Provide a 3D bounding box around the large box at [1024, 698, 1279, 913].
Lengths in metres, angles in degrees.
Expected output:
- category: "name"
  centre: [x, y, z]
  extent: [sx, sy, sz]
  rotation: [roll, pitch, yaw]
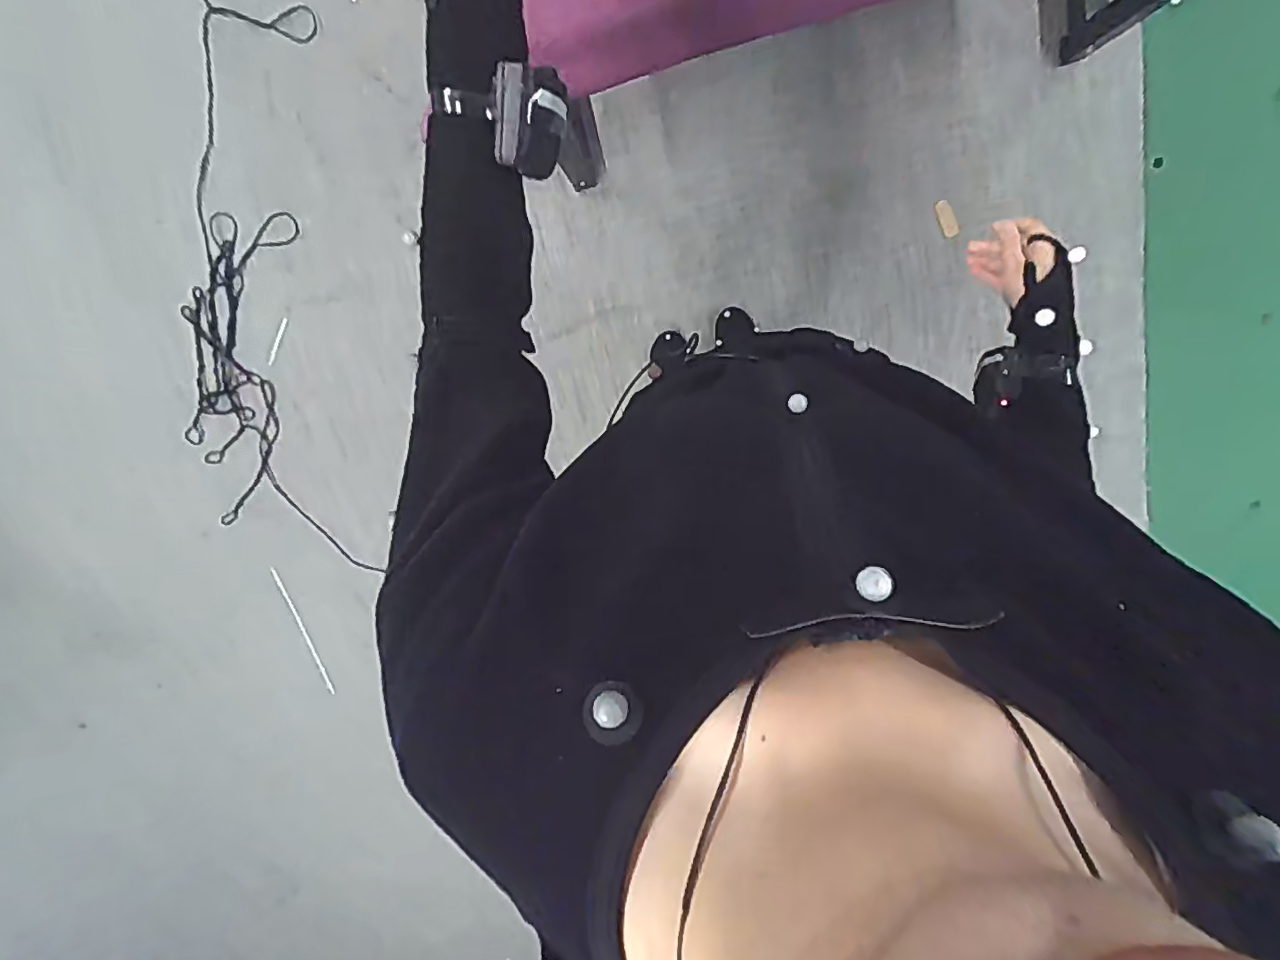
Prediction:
- category: "large box"
  centre: [1.412, 0.894, 1.517]
  extent: [0.408, 0.320, 0.320]
  rotation: [-27, 102, 9]
